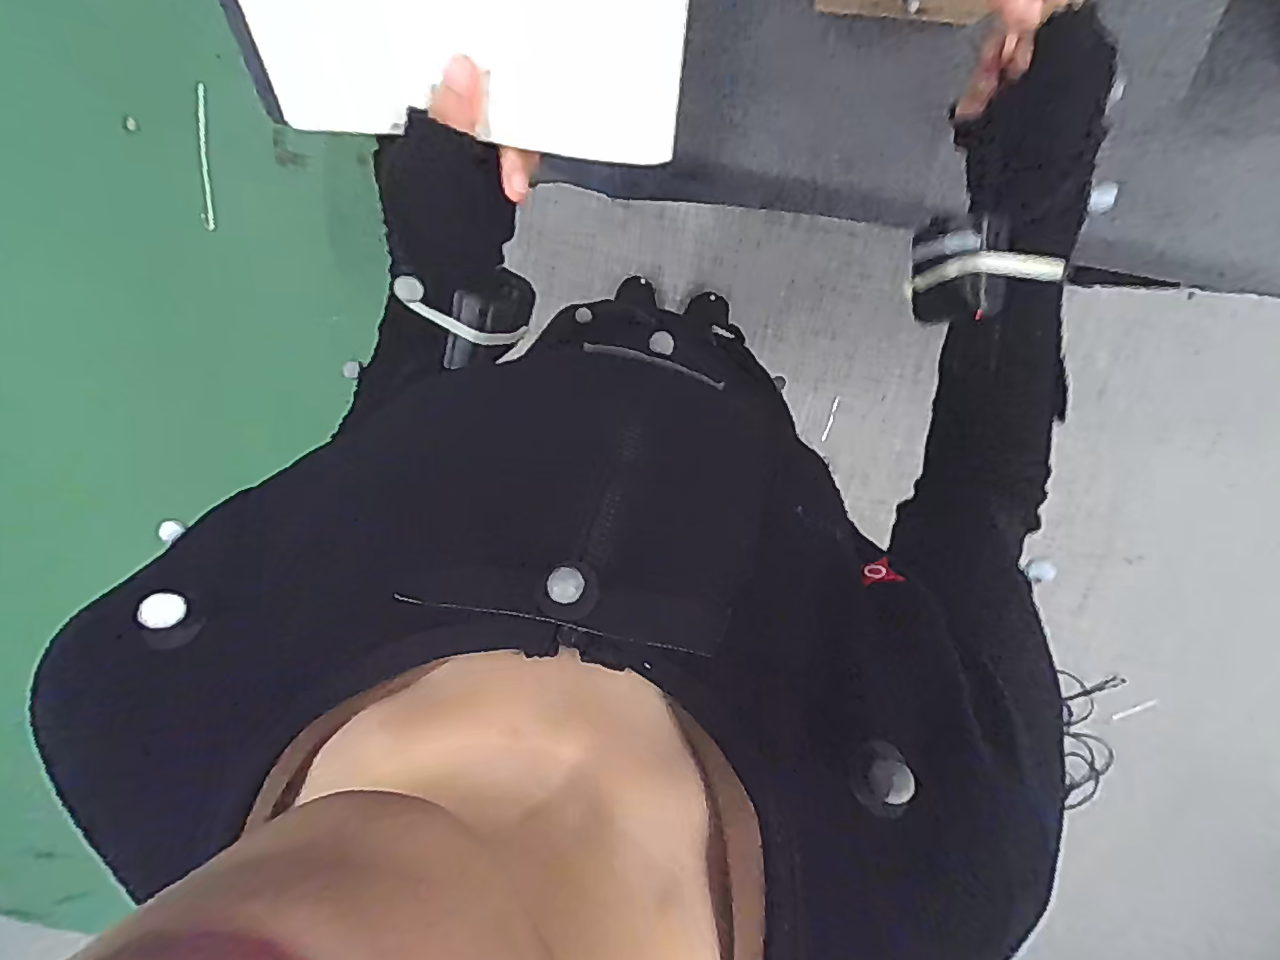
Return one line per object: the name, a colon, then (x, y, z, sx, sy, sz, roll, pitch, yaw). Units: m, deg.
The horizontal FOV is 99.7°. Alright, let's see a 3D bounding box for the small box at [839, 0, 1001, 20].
small box: (0.271, -0.527, 0.442, 0.168, 0.176, 0.179, 6, 111, 2)
